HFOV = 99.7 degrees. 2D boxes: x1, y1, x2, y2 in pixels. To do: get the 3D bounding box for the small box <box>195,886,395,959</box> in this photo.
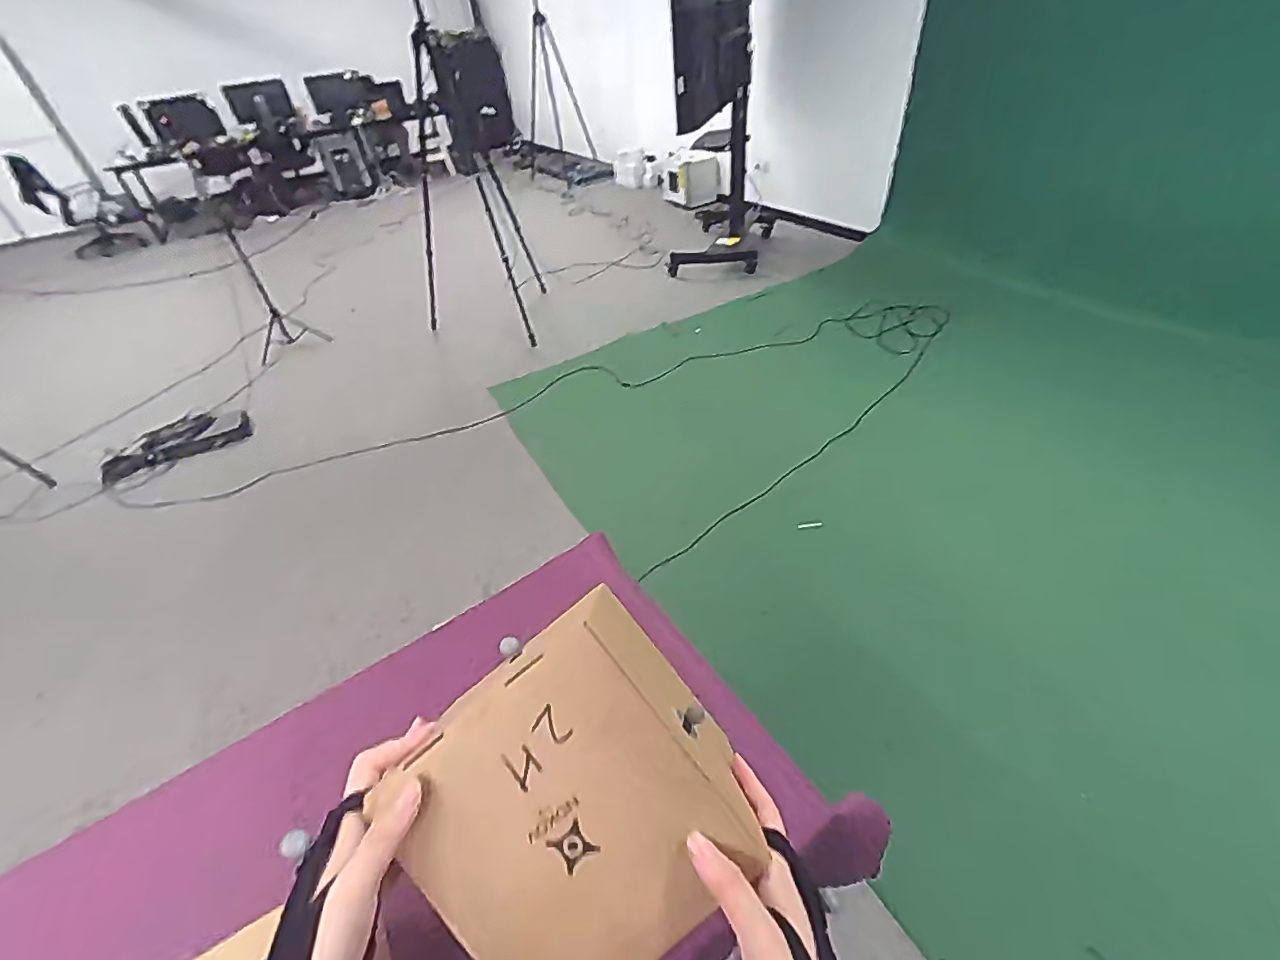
[{"bbox_3d":[-0.347,0.544,0.513,0.179,0.176,0.168,-25,44,-19],"label":"small box"}]
